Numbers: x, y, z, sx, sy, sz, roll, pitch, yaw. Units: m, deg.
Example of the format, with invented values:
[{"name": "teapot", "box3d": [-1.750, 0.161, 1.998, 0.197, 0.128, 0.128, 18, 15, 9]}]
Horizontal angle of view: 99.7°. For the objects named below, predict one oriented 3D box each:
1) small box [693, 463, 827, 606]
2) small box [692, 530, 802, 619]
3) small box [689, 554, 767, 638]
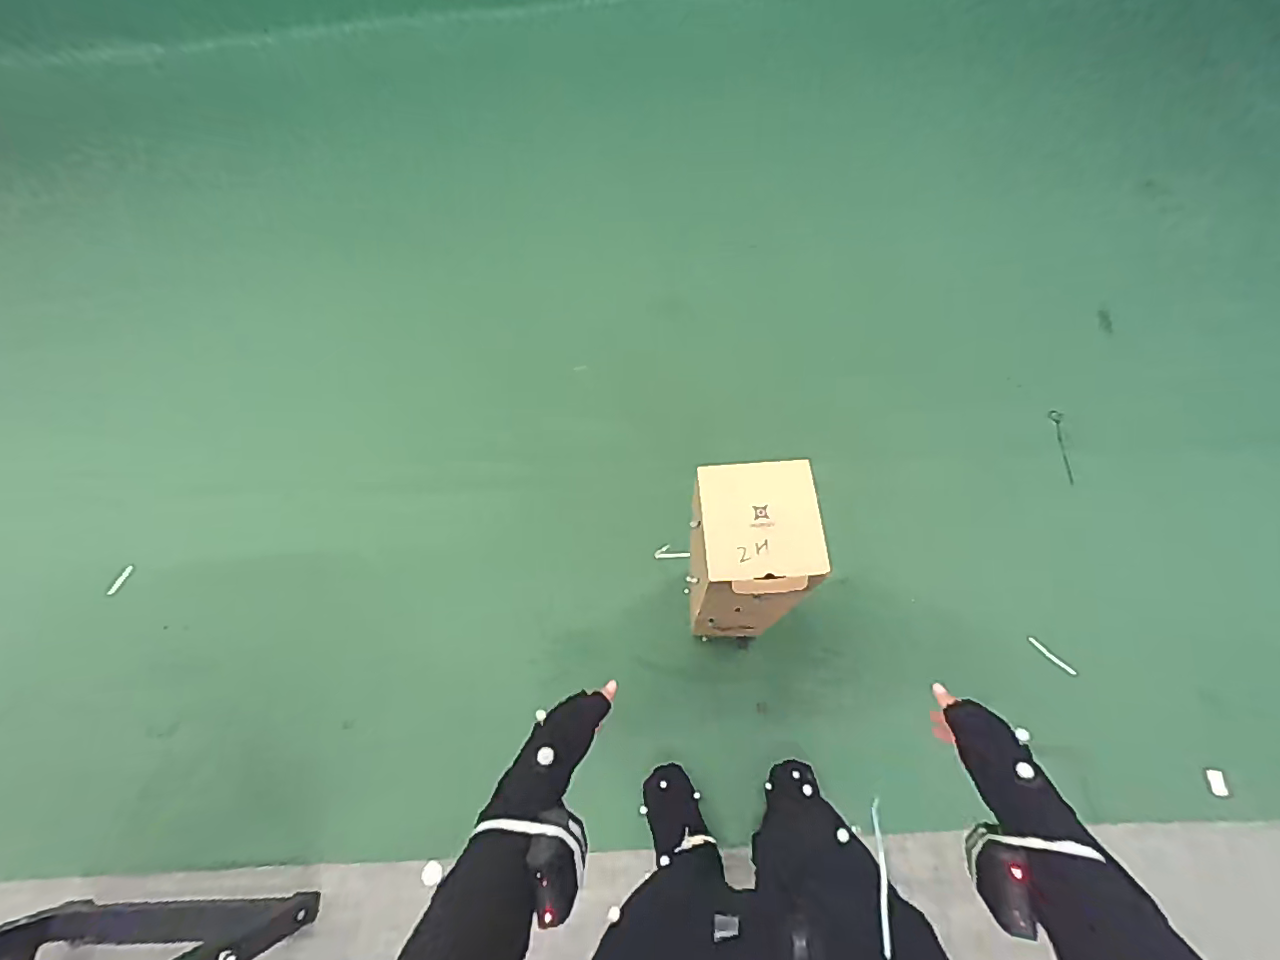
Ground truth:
[{"name": "small box", "box3d": [0.172, 0.090, 0.839, 0.168, 0.176, 0.179, -4, 67, 2]}, {"name": "small box", "box3d": [0.185, 0.151, 0.992, 0.168, 0.176, 0.179, -3, 67, 2]}, {"name": "small box", "box3d": [0.204, 0.281, 1.292, 0.168, 0.176, 0.179, -1, 67, 3]}]
